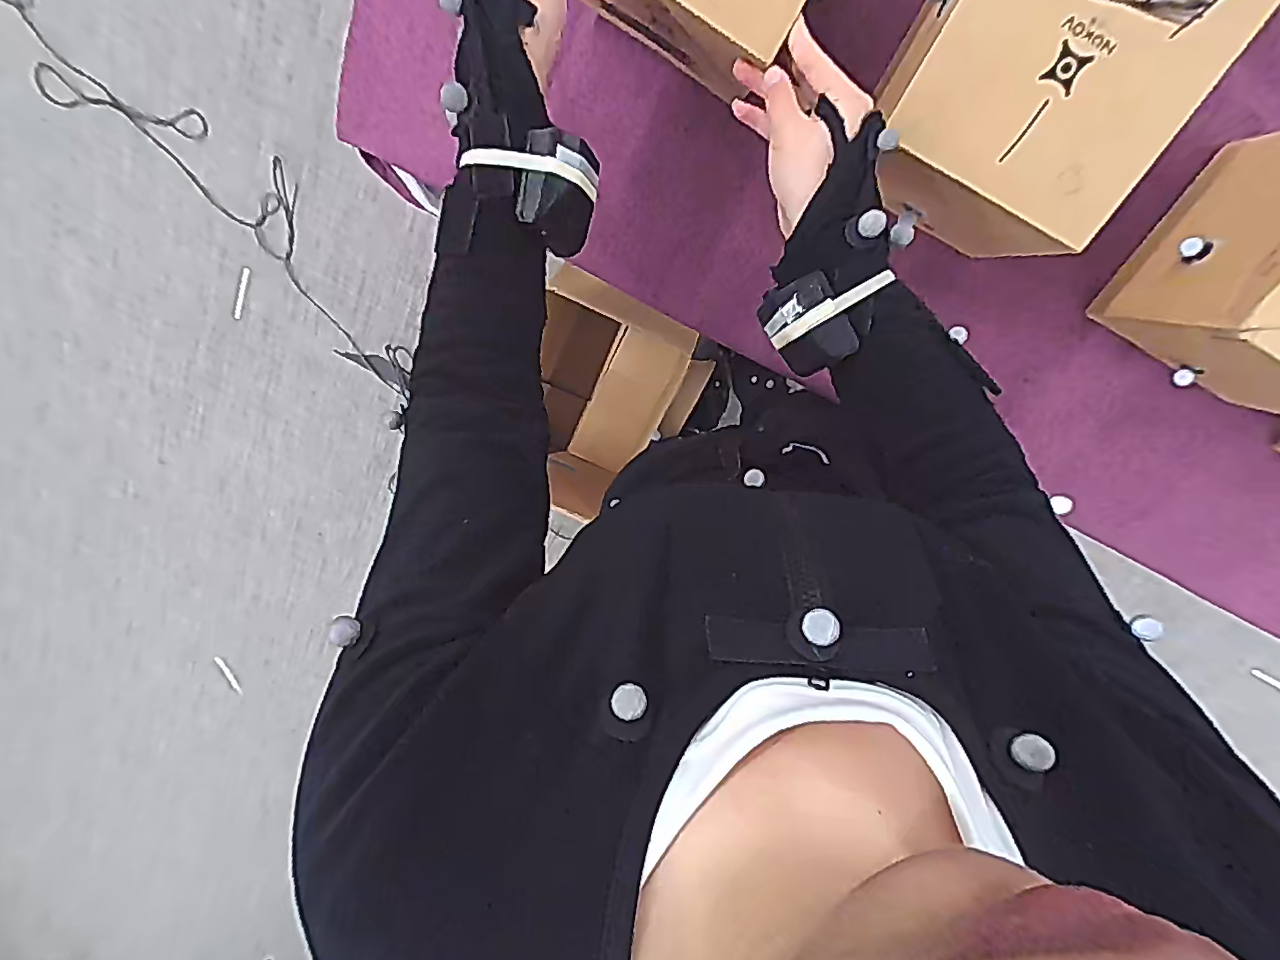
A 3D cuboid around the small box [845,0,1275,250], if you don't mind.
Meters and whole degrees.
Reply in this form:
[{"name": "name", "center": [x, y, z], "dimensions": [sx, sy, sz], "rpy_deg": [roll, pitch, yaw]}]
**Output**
[{"name": "small box", "center": [0.285, -0.298, 0.414], "dimensions": [0.168, 0.176, 0.179], "rpy_deg": [28, 112, -4]}]
